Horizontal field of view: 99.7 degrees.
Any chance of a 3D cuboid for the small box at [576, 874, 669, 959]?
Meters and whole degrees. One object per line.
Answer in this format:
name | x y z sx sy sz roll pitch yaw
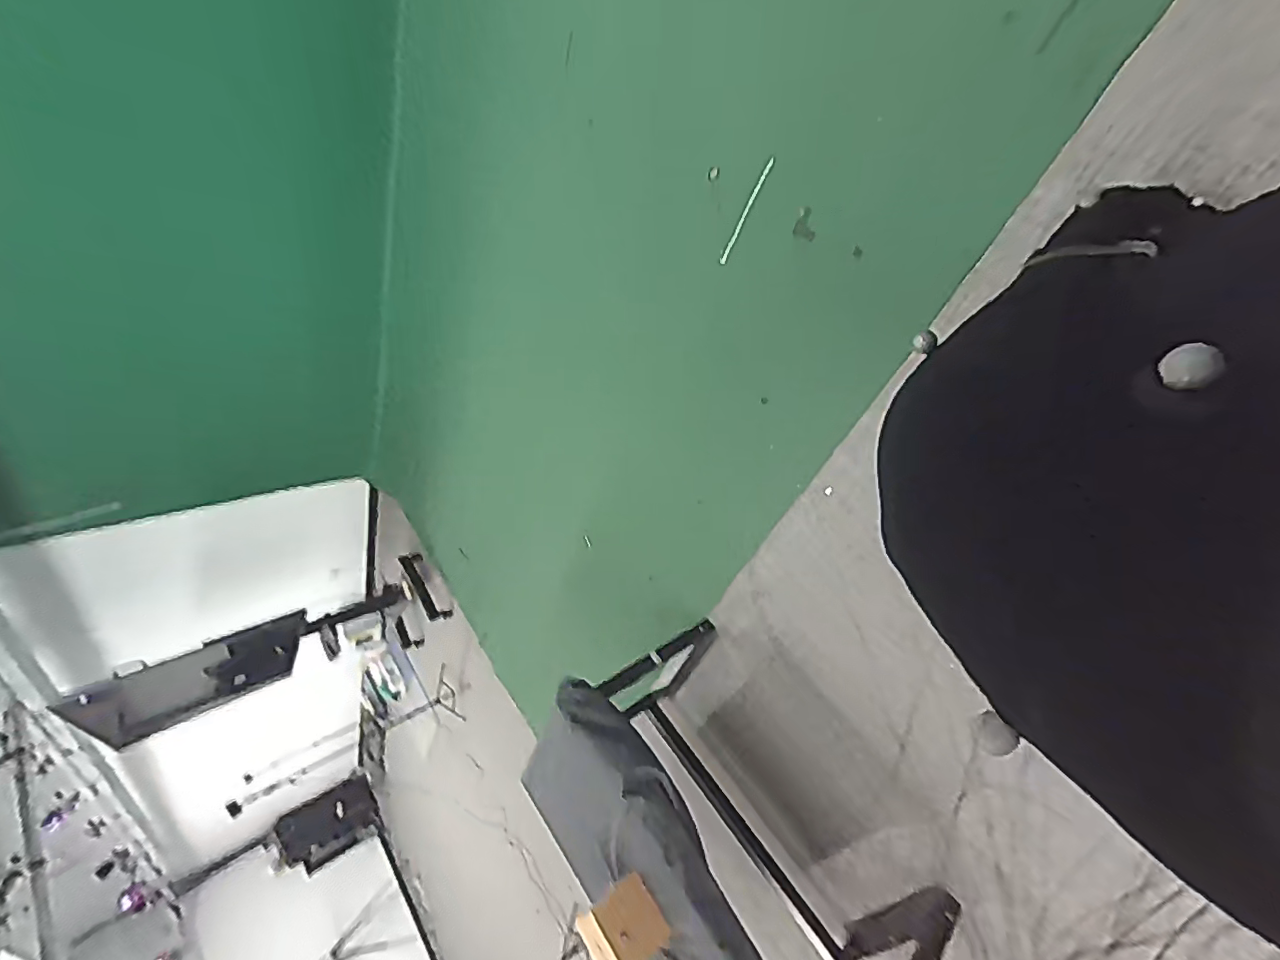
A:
small box | -0.046 1.266 1.522 0.179 0.176 0.168 49 133 26
